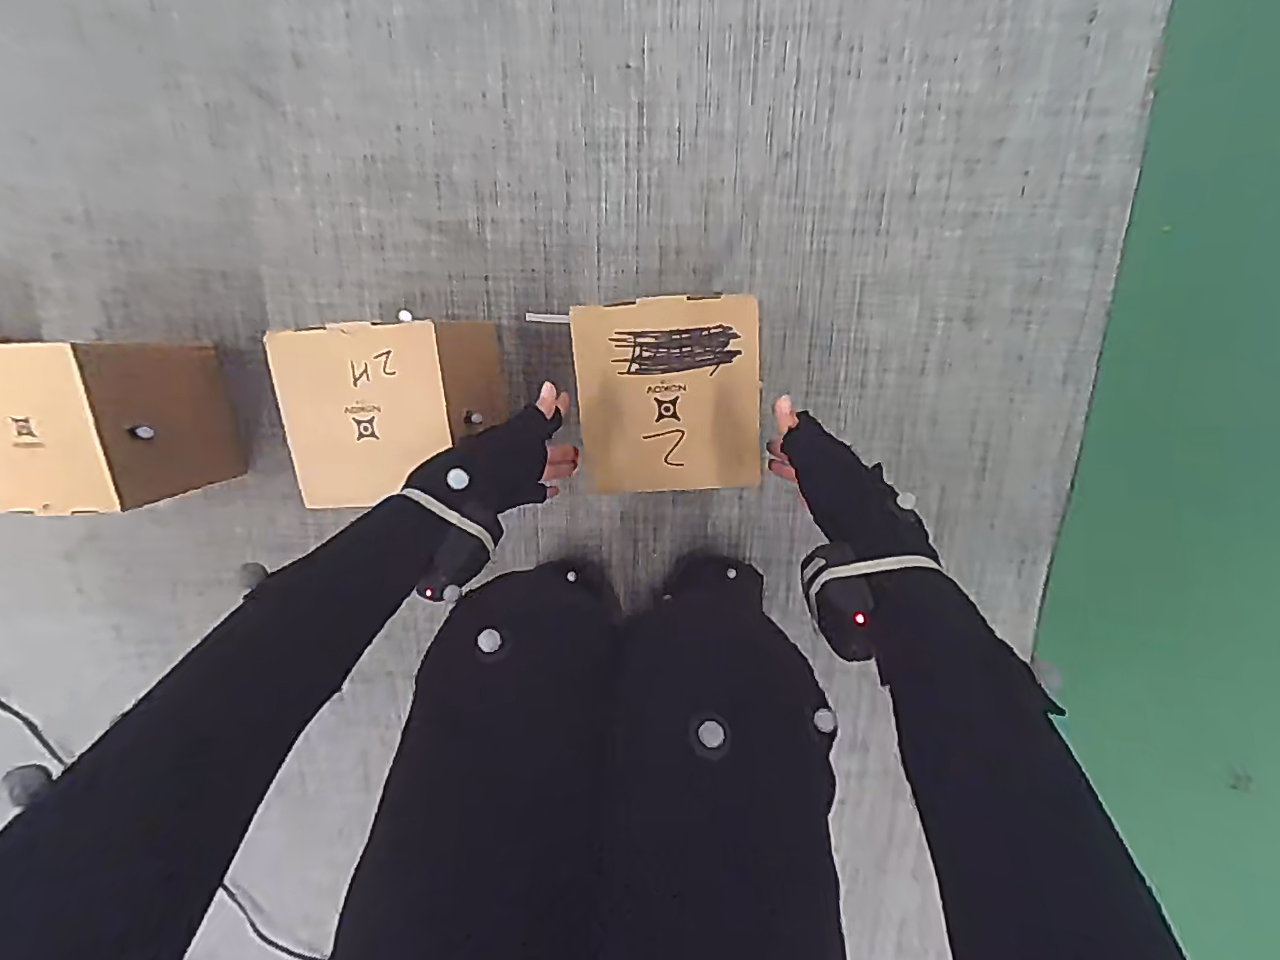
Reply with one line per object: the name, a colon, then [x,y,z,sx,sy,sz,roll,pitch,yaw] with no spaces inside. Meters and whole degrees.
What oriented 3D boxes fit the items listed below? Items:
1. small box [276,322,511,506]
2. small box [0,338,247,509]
small box: [-0.252,-0.081,0.600,0.168,0.176,0.179,-2,105,4]
small box: [-0.610,-0.074,0.631,0.168,0.176,0.179,-1,106,5]
